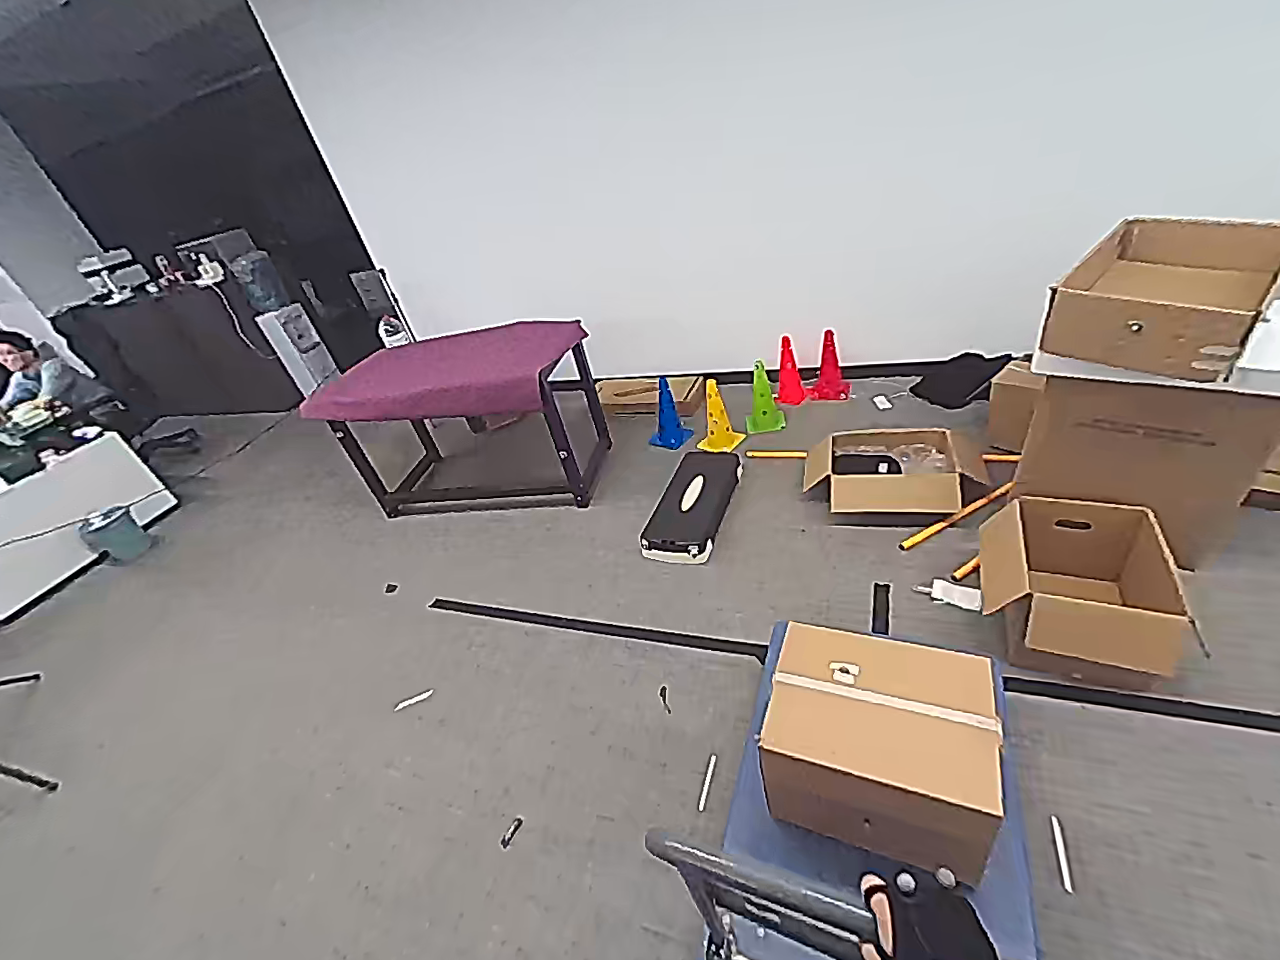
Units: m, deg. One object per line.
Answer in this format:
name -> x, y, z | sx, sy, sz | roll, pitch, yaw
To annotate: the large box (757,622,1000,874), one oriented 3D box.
large box -> 0.494, 0.545, 1.143 | 0.408, 0.320, 0.320 | 3, 37, 26
